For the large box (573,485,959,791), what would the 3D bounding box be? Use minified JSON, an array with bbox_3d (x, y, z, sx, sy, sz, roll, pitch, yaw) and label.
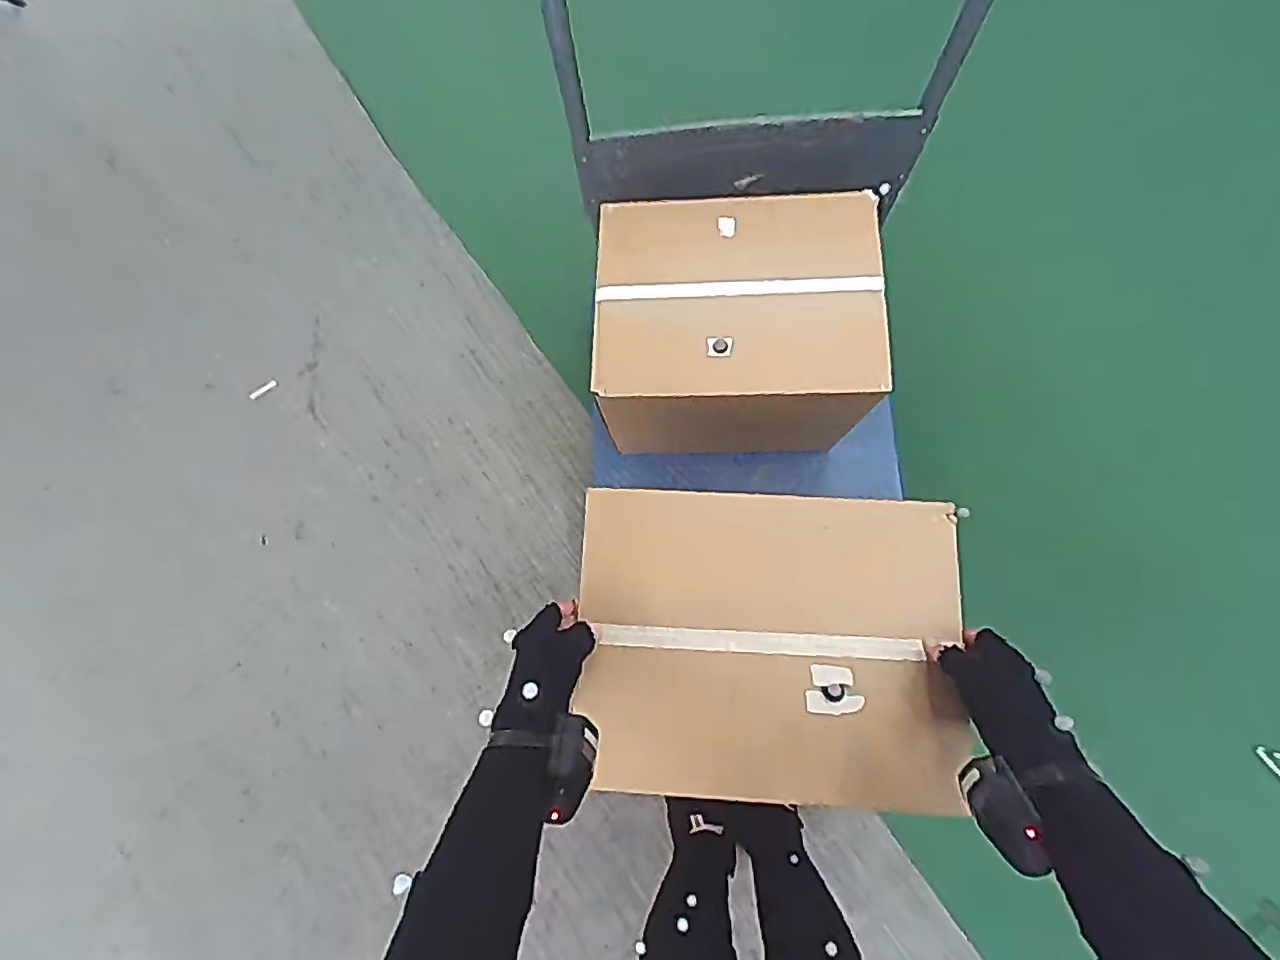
[{"bbox_3d":[0.134,0.192,0.728,0.408,0.320,0.320,2,79,2],"label":"large box"}]
